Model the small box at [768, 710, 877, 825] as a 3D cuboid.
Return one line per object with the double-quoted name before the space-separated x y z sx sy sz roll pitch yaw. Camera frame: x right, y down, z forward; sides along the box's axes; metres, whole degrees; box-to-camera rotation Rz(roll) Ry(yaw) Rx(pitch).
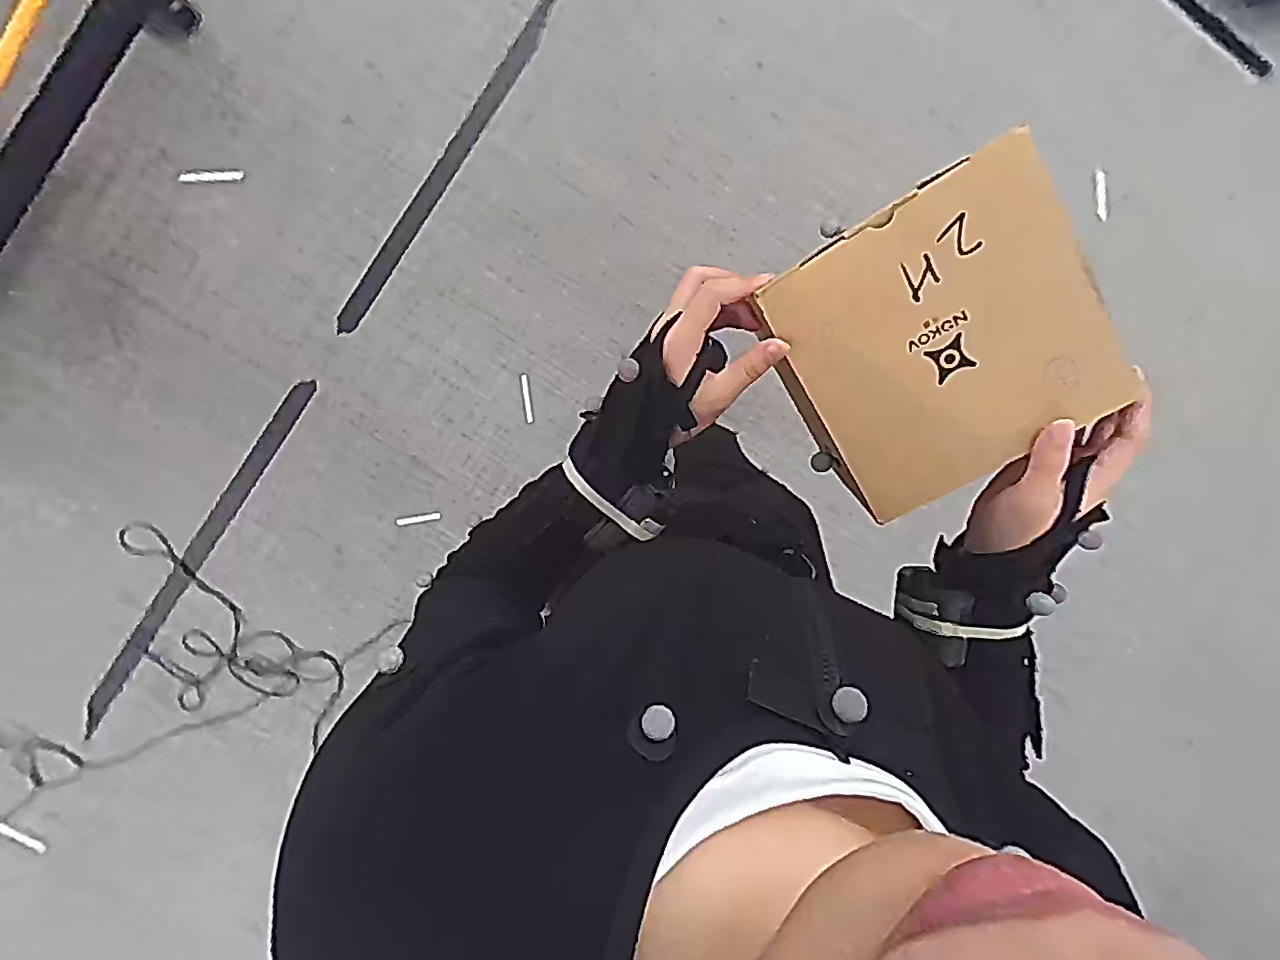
"small box" 0.461 0.728 1.392 0.179 0.176 0.168 30 92 -6
